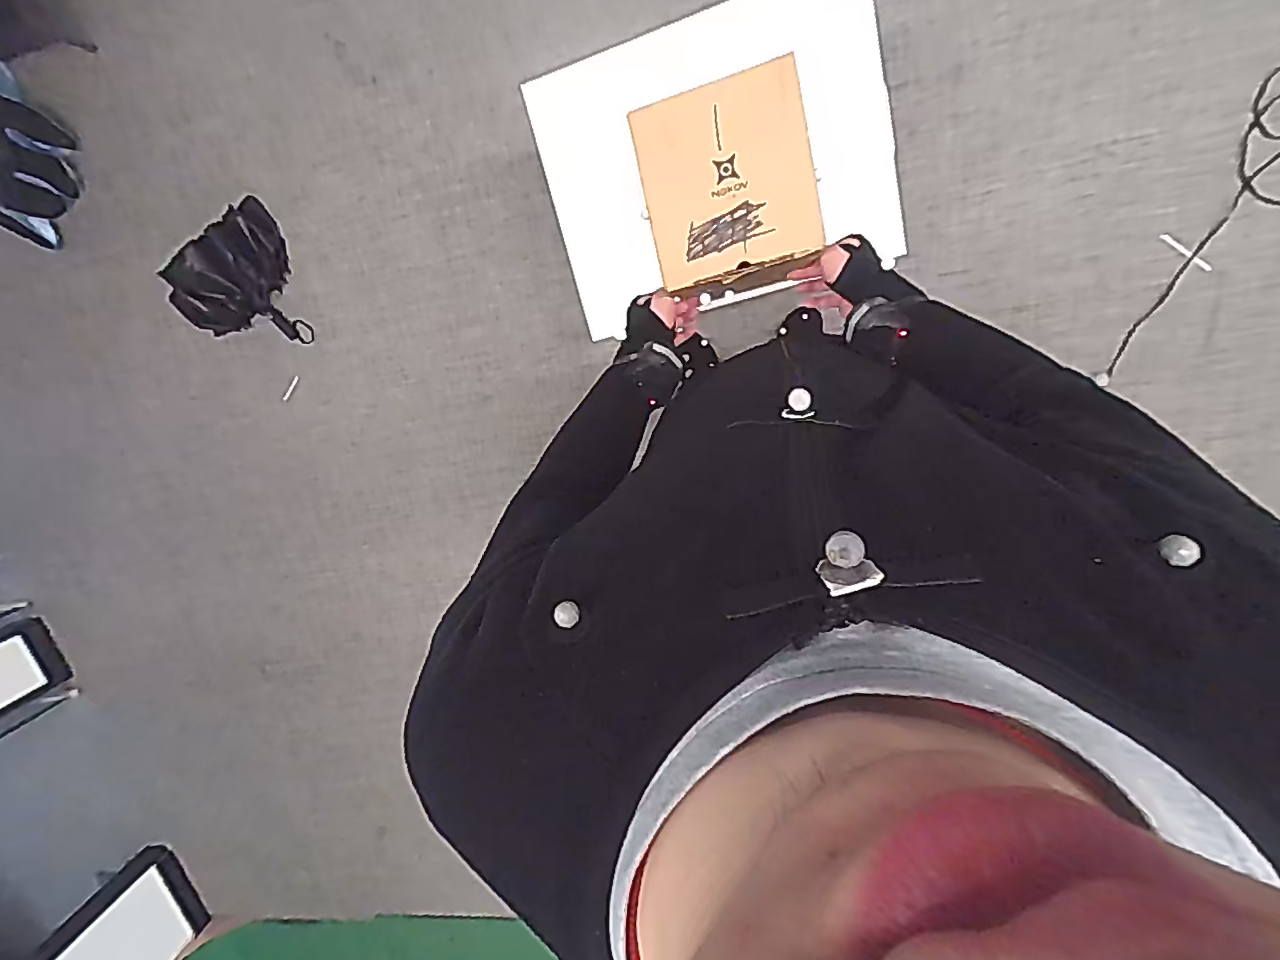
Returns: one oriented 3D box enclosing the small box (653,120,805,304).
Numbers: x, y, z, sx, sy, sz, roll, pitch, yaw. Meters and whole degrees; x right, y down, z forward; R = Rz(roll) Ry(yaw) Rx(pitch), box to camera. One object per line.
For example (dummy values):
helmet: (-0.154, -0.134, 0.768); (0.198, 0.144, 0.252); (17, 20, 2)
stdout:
small box: (0.125, -0.360, 0.764); (0.168, 0.176, 0.179); (-12, 103, 13)
